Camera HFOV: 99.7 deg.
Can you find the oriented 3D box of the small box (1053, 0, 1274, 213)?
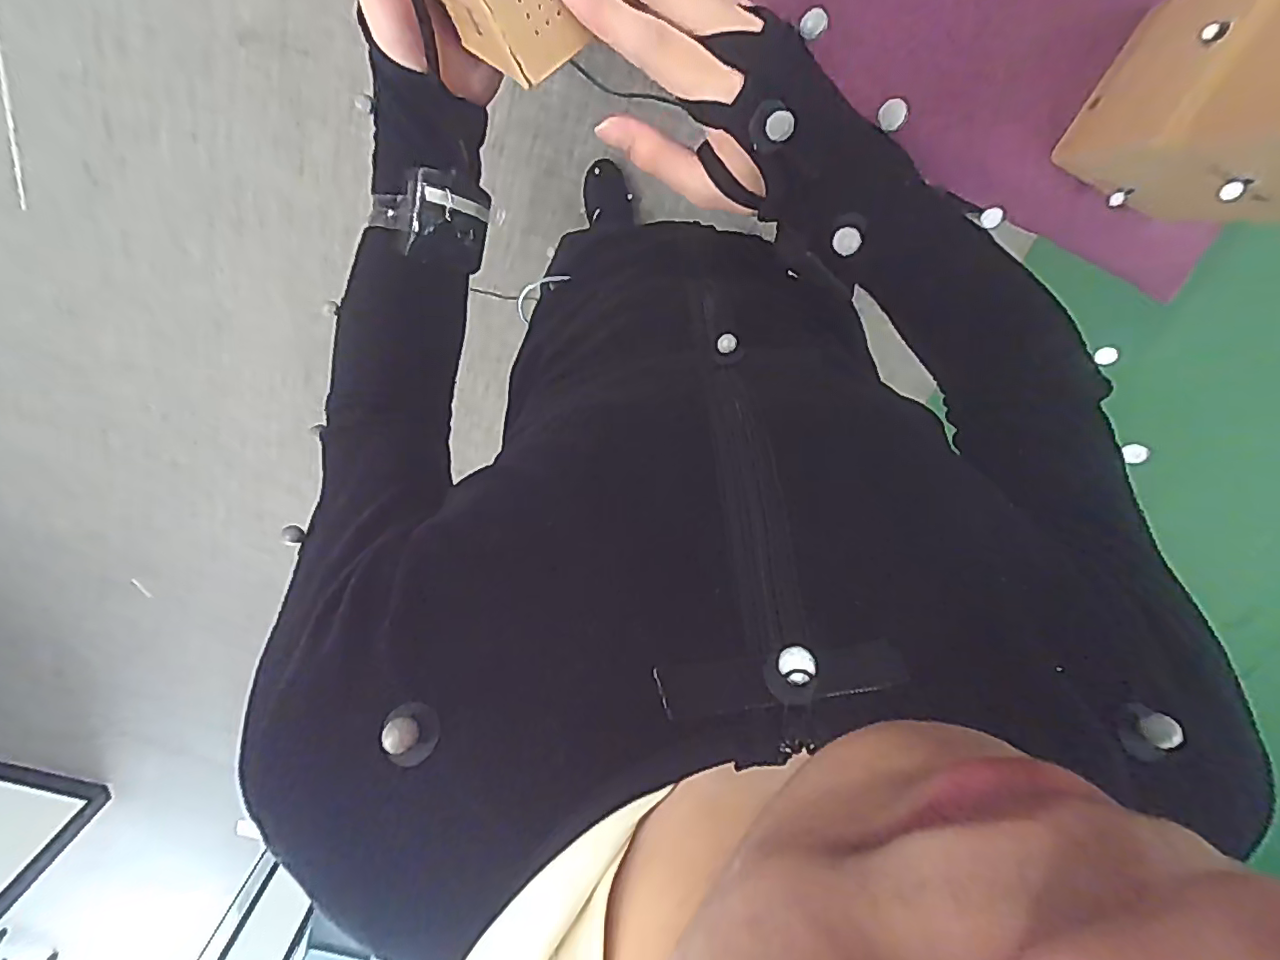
[{"bbox_3d":[0.617,-0.413,0.583,0.179,0.176,0.168,23,116,-9],"label":"small box"}]

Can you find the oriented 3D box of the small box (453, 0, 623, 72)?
[{"bbox_3d":[-0.049,-0.335,0.238,0.179,0.168,0.176,-37,142,6],"label":"small box"}]
